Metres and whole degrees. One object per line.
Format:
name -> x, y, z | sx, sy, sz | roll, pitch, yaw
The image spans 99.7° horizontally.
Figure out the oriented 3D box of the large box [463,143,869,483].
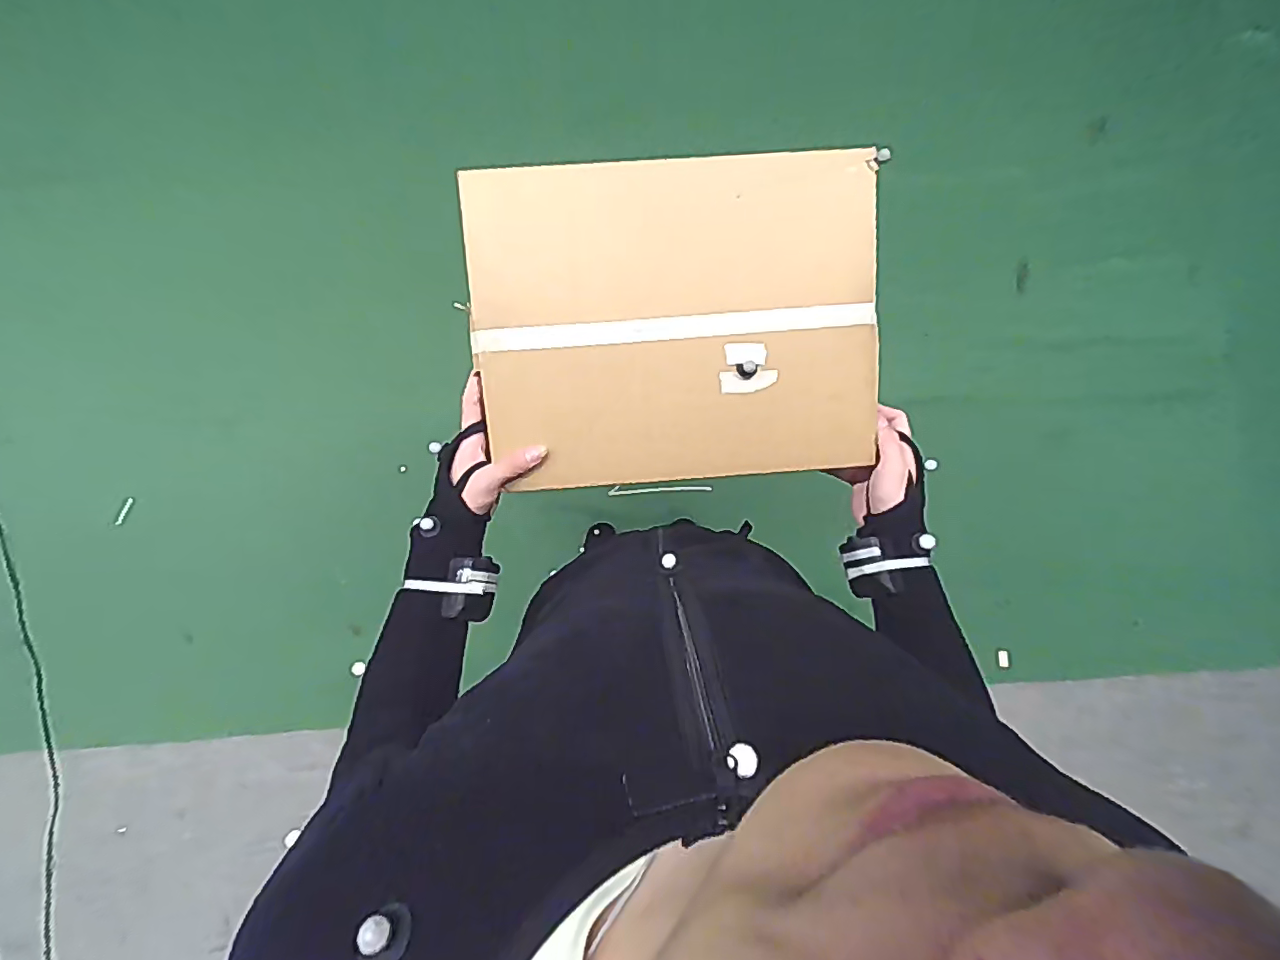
large box -> 0.029, -0.188, 0.697 | 0.408, 0.320, 0.320 | -5, 100, -2
